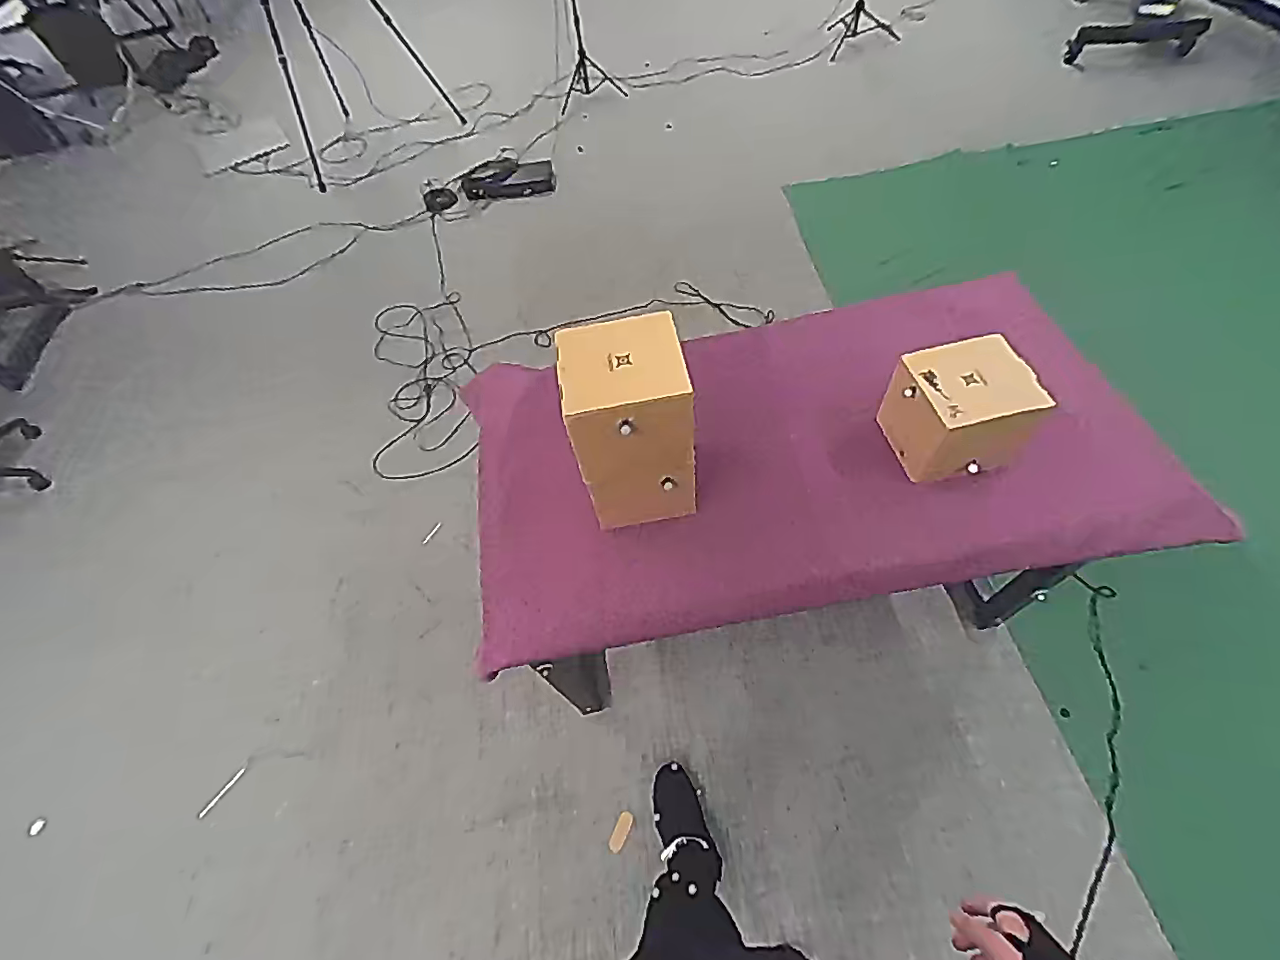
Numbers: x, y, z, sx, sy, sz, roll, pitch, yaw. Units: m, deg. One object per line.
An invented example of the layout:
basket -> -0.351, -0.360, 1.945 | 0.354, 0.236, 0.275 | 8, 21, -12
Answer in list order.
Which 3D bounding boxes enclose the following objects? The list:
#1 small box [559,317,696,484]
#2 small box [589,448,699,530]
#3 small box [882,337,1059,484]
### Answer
small box -> -0.014, -0.115, 0.821 | 0.179, 0.176, 0.168 | -11, 57, 2
small box -> 0.004, -0.030, 0.958 | 0.179, 0.176, 0.168 | -11, 56, 1
small box -> 0.552, -0.115, 0.933 | 0.179, 0.176, 0.168 | -12, 56, 0
